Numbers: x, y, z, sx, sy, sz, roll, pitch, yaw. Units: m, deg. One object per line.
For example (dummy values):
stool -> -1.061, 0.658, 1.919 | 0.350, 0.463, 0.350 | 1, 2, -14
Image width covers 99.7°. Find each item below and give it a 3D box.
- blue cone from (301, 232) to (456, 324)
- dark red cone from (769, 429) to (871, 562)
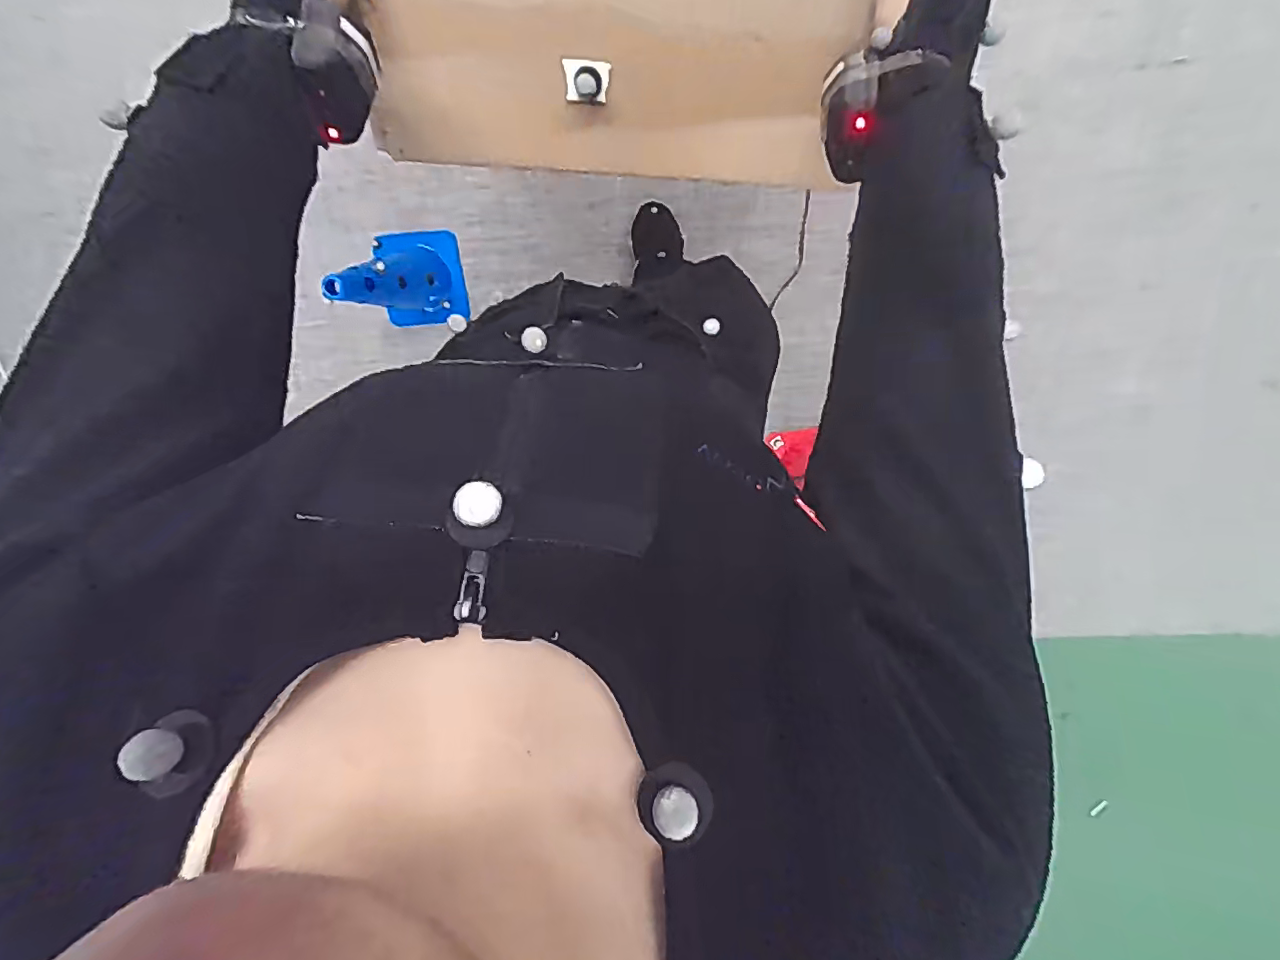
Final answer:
blue cone -> -0.530, -0.397, 1.079 | 0.192, 0.380, 0.193 | -1, 112, 5
dark red cone -> 0.405, 0.050, 1.152 | 0.202, 0.394, 0.201 | -9, 114, 8
